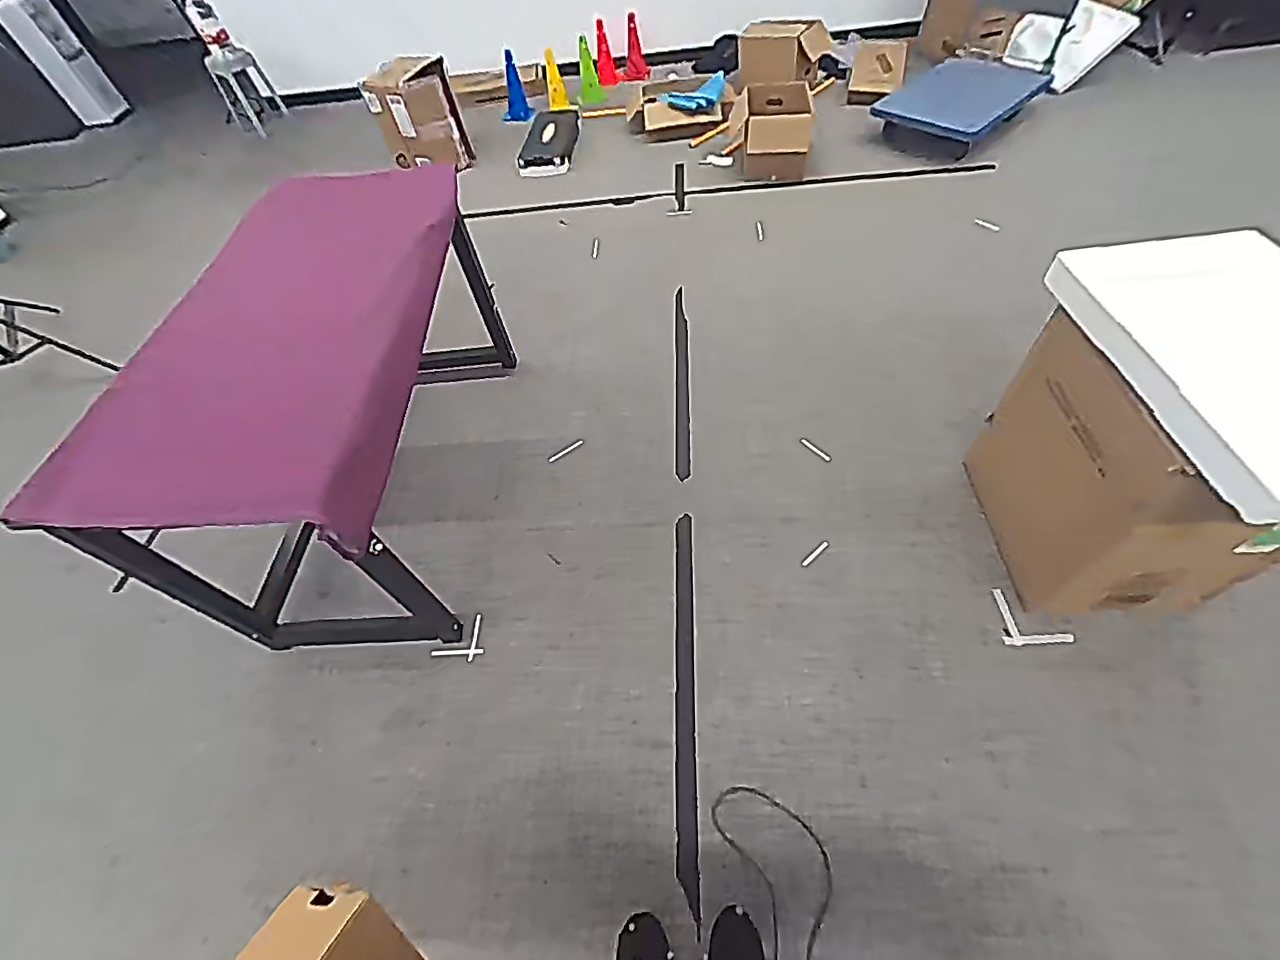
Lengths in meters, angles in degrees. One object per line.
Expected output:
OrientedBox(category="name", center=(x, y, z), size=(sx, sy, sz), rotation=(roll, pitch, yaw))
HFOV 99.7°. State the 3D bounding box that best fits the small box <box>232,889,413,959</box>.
OrientedBox(category="small box", center=(-0.378, 0.615, 0.614), size=(0.168, 0.176, 0.179), rotation=(-19, 15, 27))
